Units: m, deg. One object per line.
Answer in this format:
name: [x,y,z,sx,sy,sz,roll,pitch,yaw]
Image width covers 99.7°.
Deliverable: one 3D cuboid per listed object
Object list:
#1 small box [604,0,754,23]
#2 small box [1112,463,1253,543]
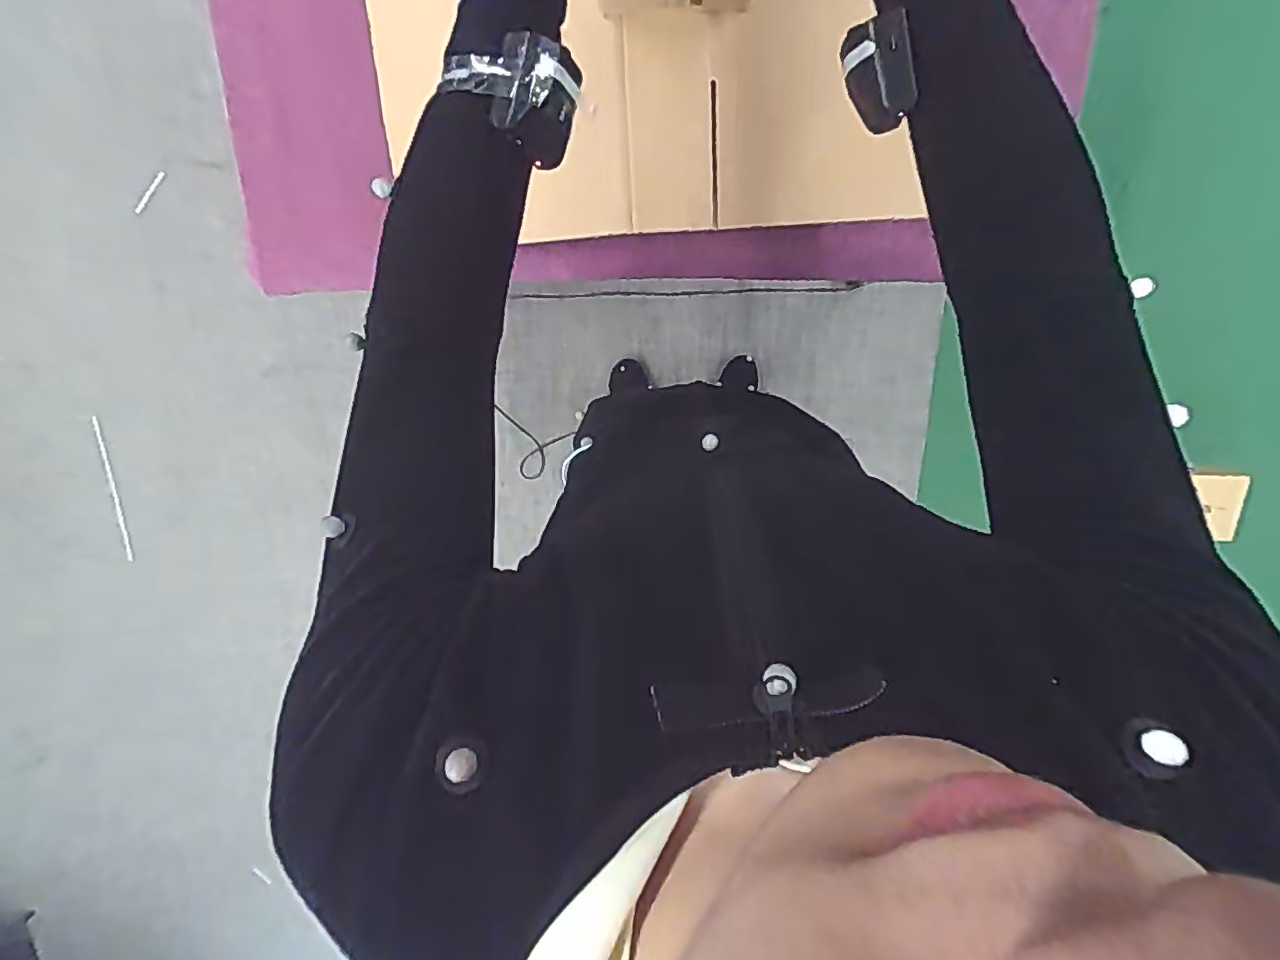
small box: [0.039,-0.567,0.493,0.168,0.176,0.179,-2,104,0]
small box: [1.360,0.053,1.371,0.179,0.176,0.168,1,104,1]
